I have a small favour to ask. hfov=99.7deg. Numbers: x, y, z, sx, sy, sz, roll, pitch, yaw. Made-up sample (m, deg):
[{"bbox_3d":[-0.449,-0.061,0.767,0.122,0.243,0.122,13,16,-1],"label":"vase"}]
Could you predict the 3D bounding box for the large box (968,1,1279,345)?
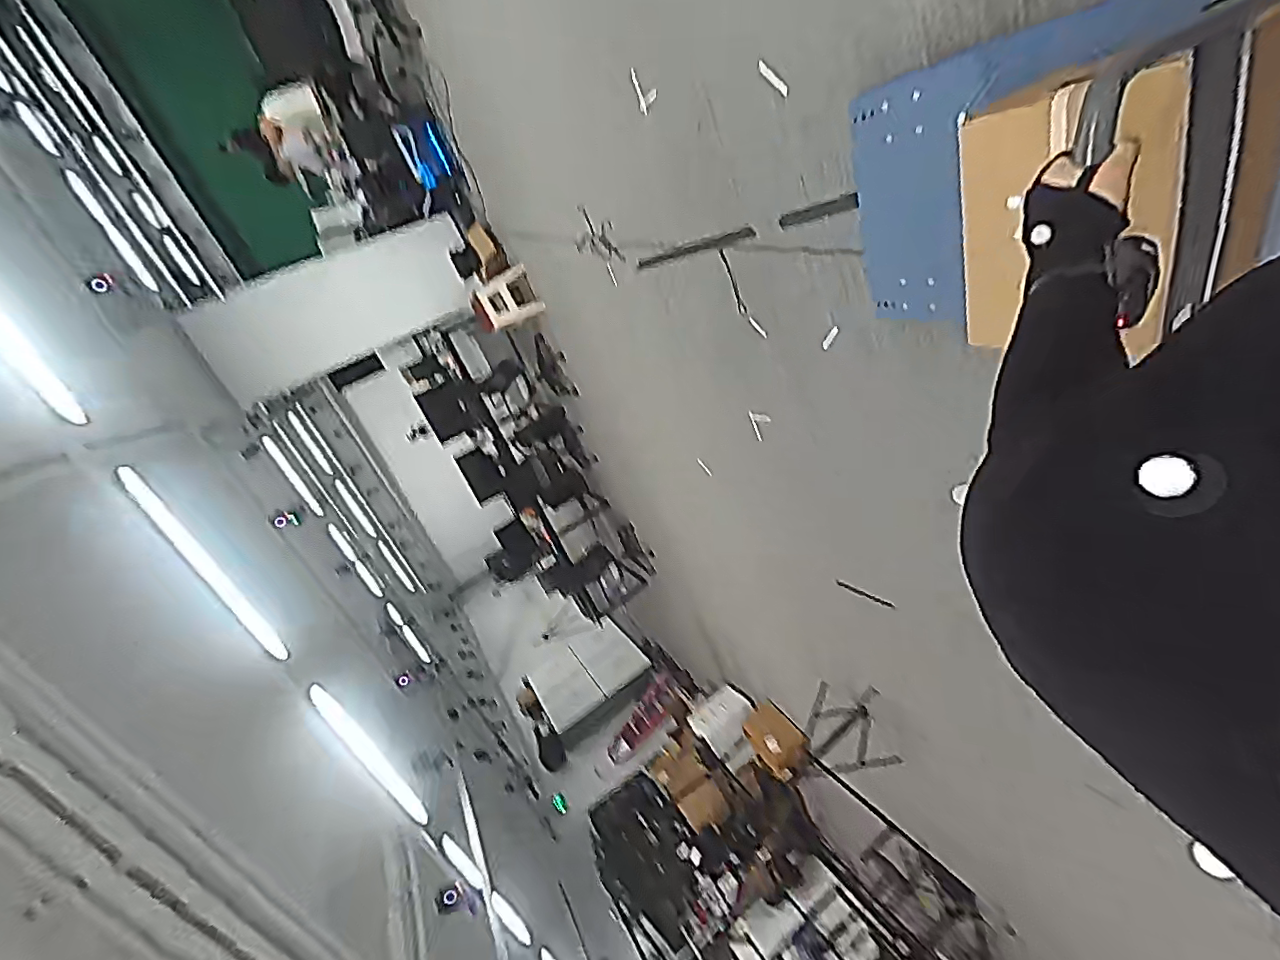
[{"bbox_3d":[0.808,-0.483,0.914,0.320,0.320,0.408,28,145,55],"label":"large box"}]
